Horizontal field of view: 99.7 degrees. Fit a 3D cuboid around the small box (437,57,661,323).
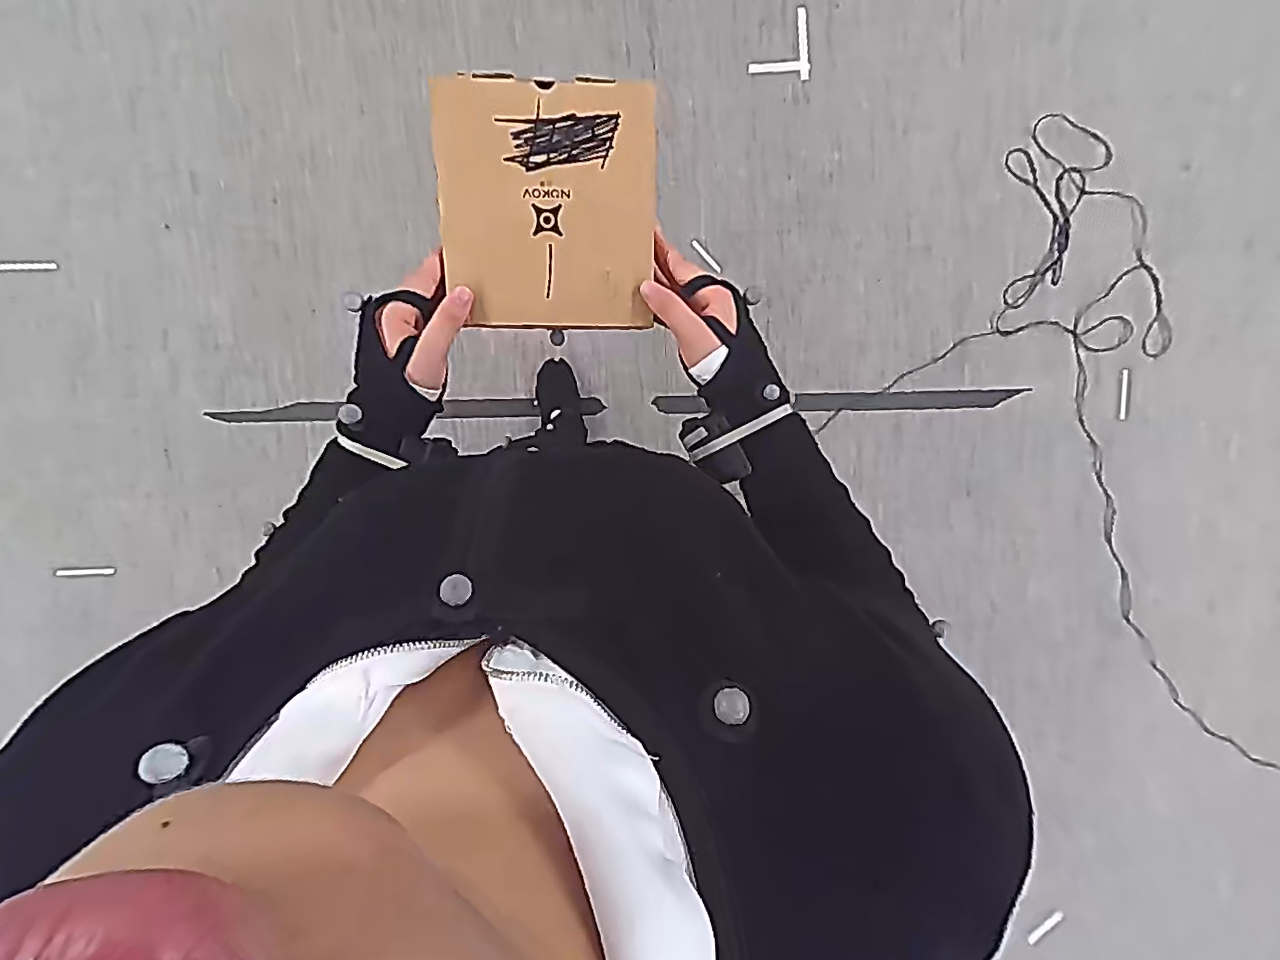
[{"bbox_3d":[-0.074,-0.238,0.490,0.168,0.176,0.179,0,106,-3],"label":"small box"}]
